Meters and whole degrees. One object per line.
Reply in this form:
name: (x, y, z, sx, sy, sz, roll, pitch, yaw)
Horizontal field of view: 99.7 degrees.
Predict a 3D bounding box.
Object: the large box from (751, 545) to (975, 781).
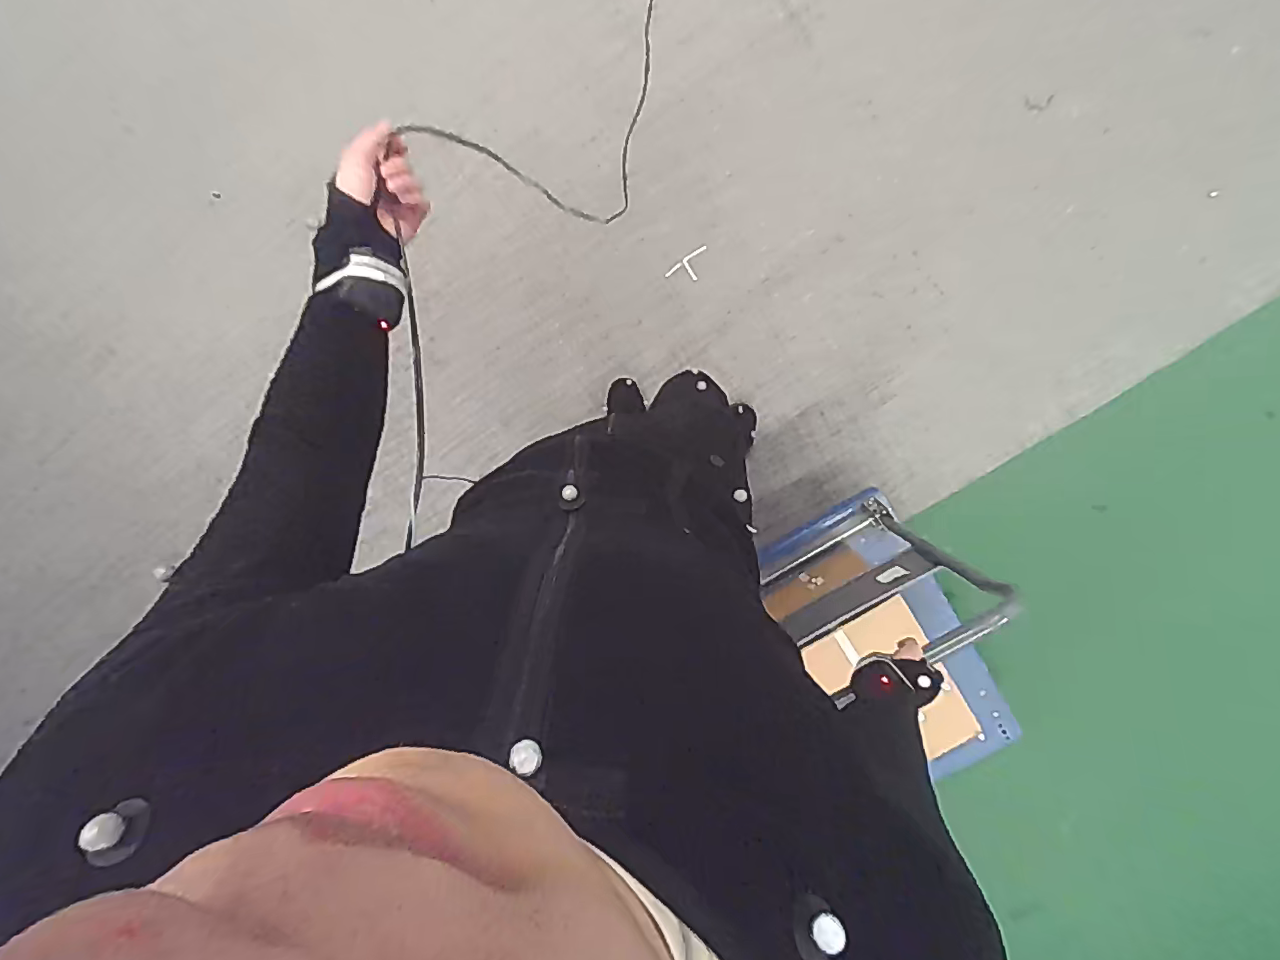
large box: (0.536, 0.441, 1.371, 0.320, 0.320, 0.408, -32, 100, 8)
